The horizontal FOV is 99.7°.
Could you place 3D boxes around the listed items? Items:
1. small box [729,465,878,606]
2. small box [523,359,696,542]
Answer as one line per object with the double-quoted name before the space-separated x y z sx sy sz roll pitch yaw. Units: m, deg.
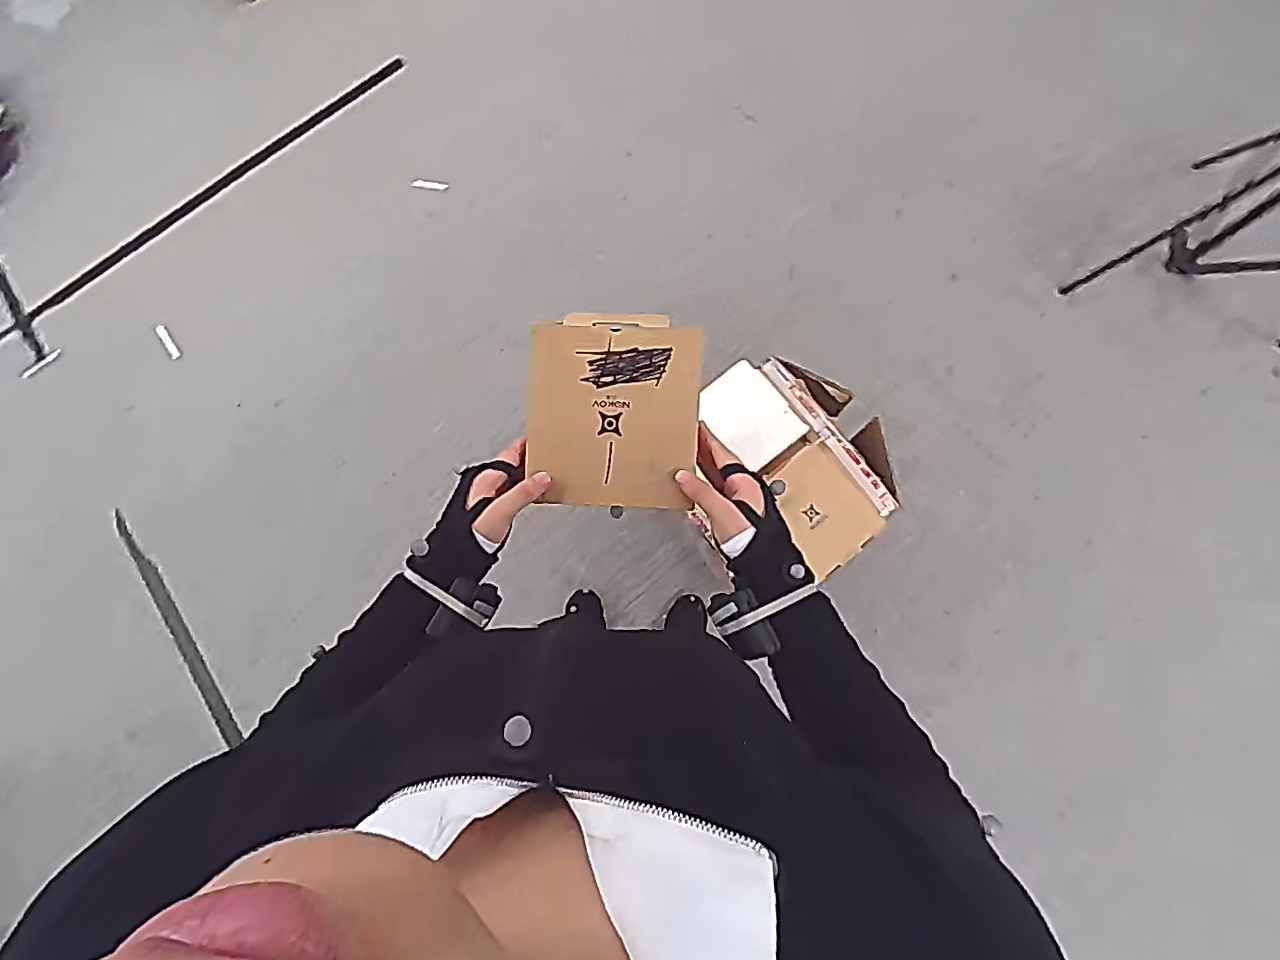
"small box" 0.277 0.102 0.963 0.168 0.176 0.179 -39 79 -4
"small box" -0.026 -0.028 0.607 0.168 0.176 0.179 2 90 5
